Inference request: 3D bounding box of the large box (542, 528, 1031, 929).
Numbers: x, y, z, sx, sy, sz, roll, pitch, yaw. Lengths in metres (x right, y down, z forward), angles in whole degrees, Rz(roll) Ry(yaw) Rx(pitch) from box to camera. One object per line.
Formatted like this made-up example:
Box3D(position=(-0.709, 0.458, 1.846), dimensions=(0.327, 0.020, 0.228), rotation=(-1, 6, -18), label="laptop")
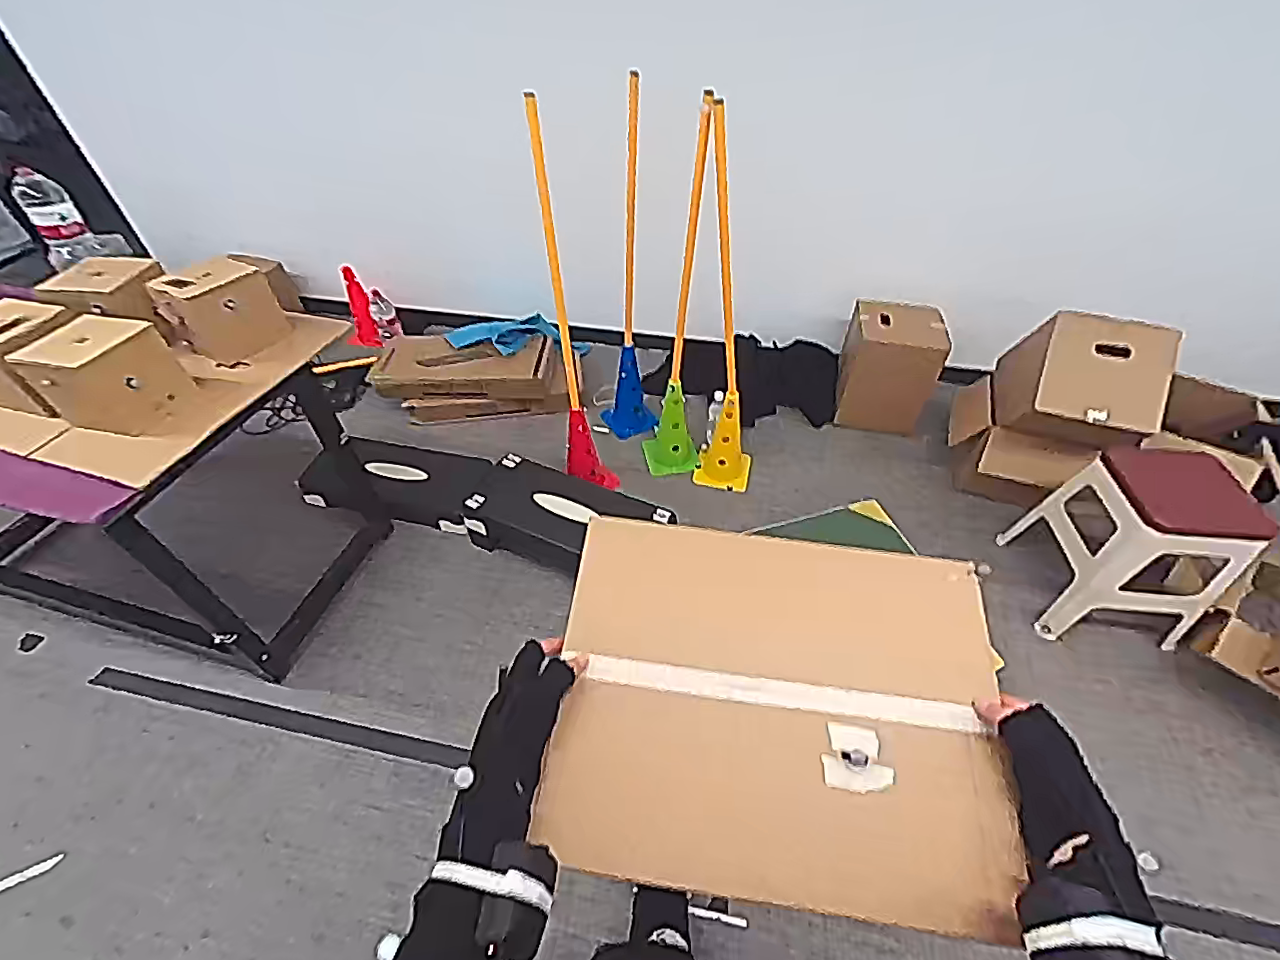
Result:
Box3D(position=(0.129, 0.279, 0.638), dimensions=(0.408, 0.320, 0.320), rotation=(7, 60, 4), label="large box")
